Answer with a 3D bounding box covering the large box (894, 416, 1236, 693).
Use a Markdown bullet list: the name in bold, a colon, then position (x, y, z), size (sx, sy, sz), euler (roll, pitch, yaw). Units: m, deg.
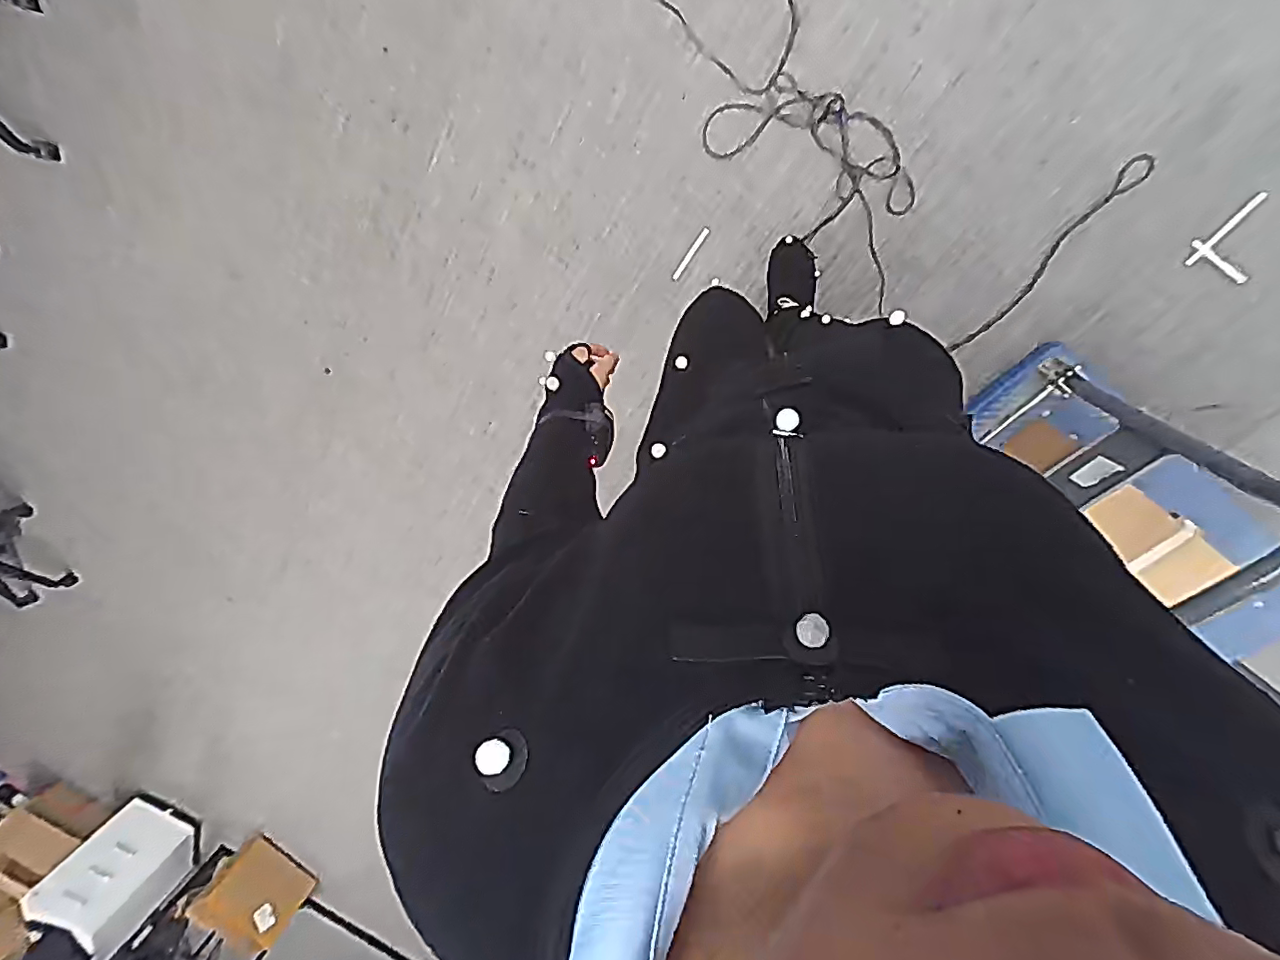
- **large box**: position (0.814, 0.144, 1.120), size (0.320, 0.320, 0.408), euler (36, 119, -3)
